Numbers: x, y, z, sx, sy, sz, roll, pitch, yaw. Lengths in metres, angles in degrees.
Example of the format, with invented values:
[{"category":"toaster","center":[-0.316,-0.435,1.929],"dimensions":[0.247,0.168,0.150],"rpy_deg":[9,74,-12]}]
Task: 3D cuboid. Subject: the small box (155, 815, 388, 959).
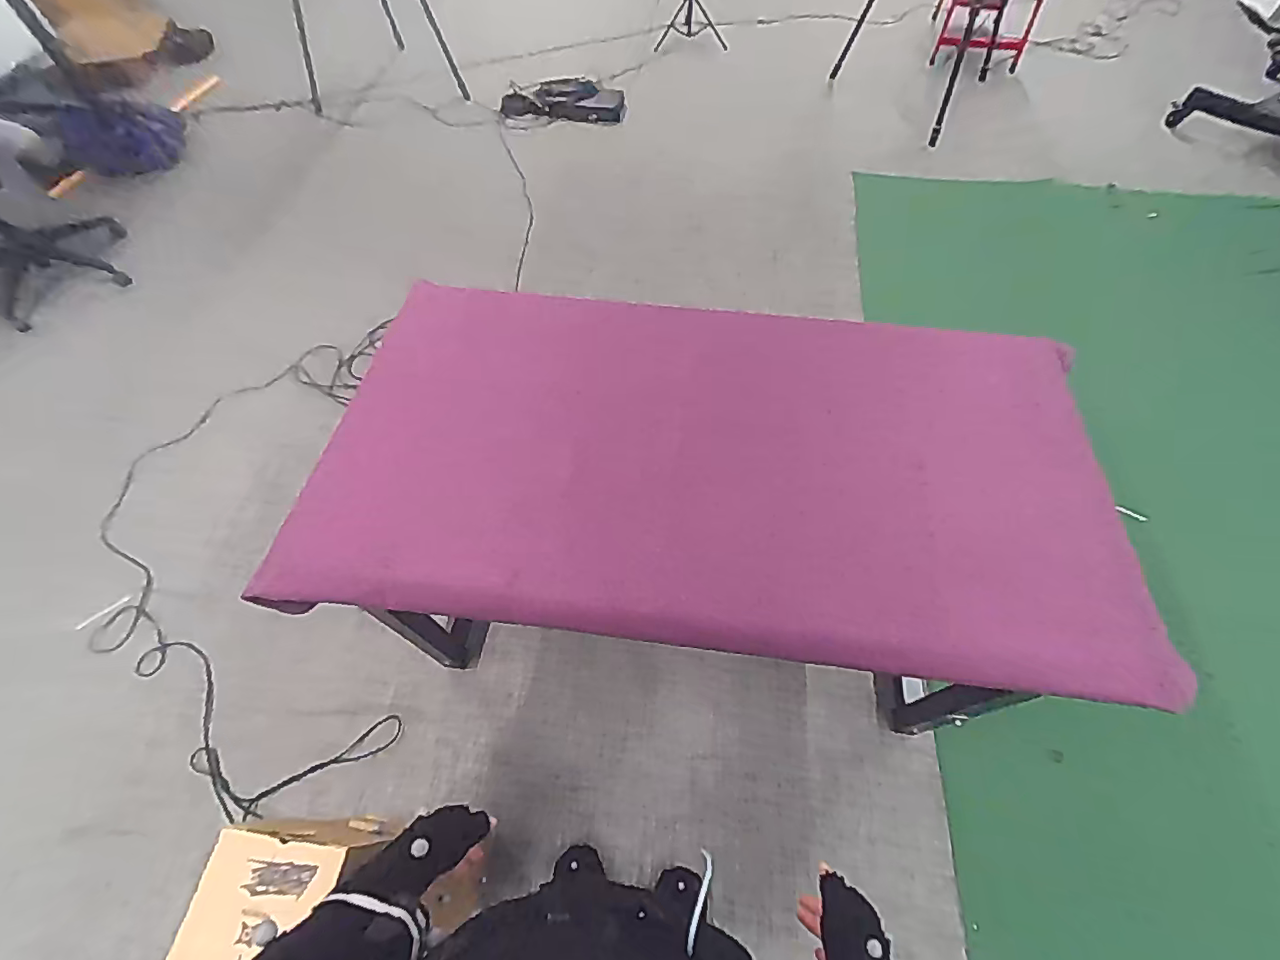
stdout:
[{"category":"small box","center":[-0.454,0.546,0.693],"dimensions":[0.168,0.176,0.179],"rpy_deg":[8,62,5]}]
